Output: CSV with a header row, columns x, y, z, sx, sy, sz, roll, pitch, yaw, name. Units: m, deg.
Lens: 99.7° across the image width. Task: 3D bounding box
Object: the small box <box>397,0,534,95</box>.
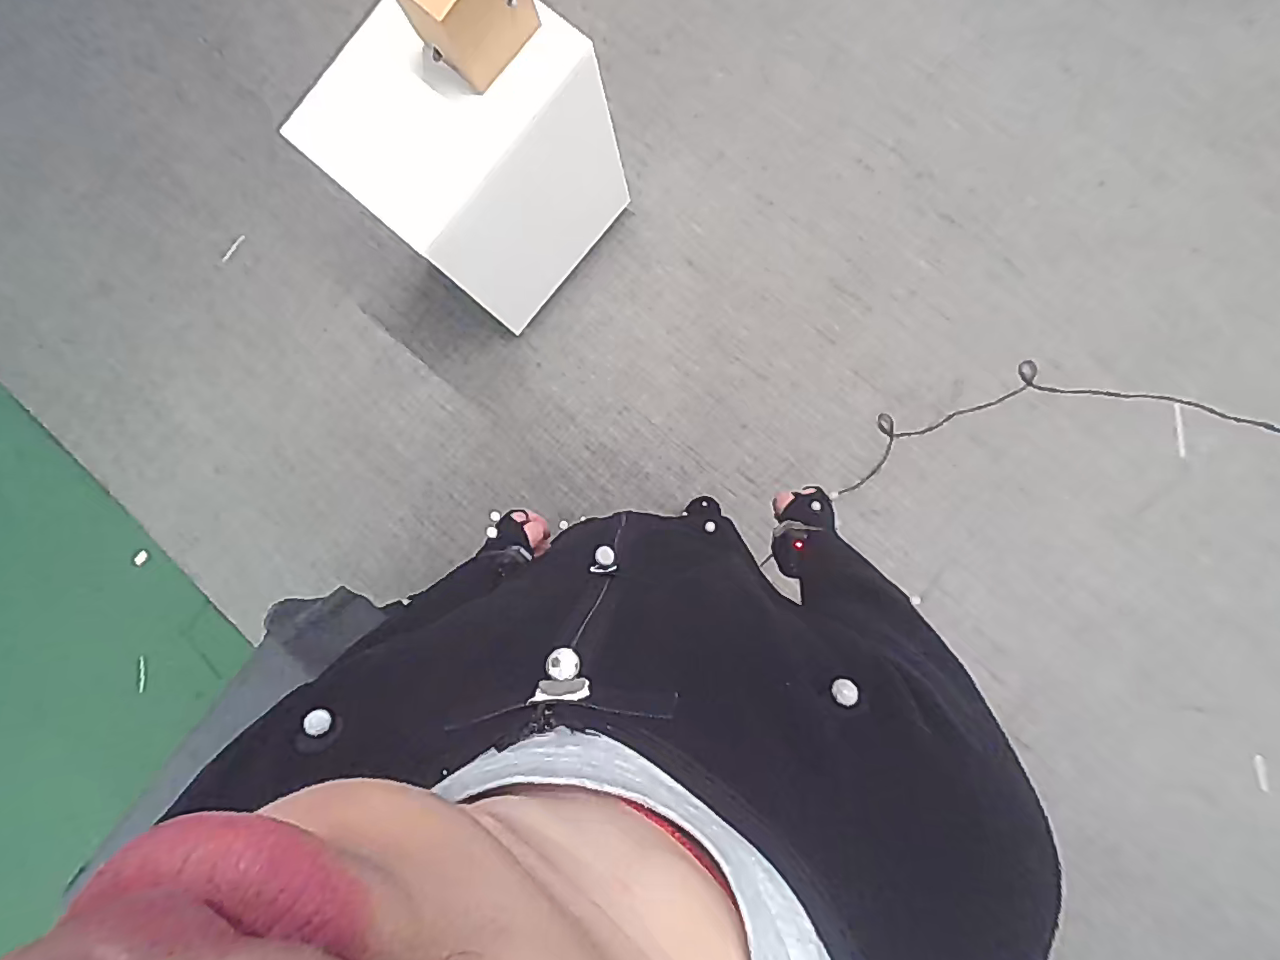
x,y,z,sx,sy,sz,roll,pitch,yaw,name
-0.307,-0.839,0.943,0.168,0.176,0.179,43,95,7,small box
